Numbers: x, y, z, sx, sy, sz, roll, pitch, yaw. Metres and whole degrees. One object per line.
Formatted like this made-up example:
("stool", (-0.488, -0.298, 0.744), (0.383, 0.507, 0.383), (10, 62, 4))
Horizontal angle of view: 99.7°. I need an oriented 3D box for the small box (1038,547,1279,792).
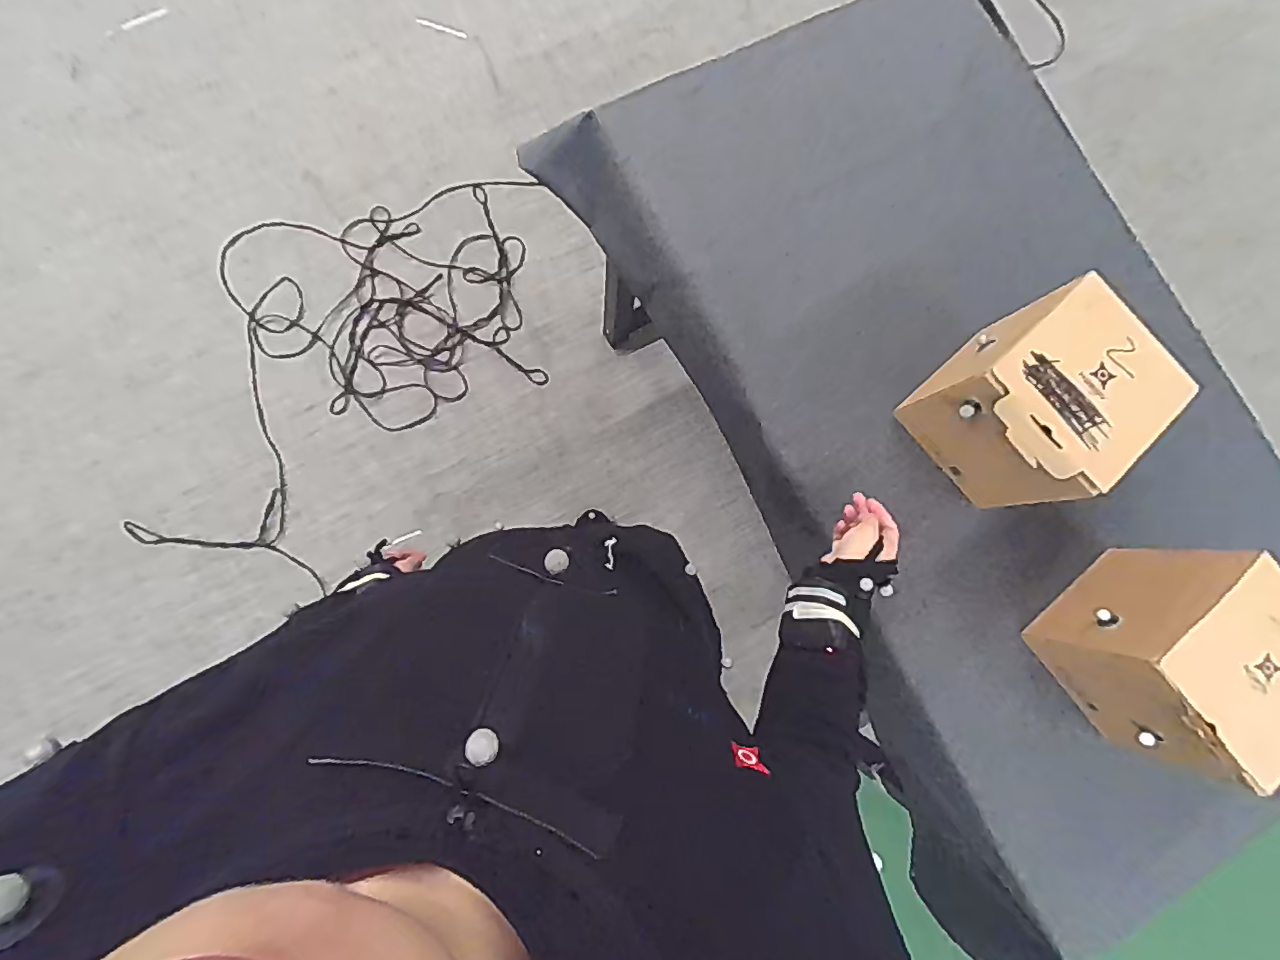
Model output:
("small box", (0.600, 0.192, 0.605), (0.179, 0.176, 0.168), (-39, 89, -9))
